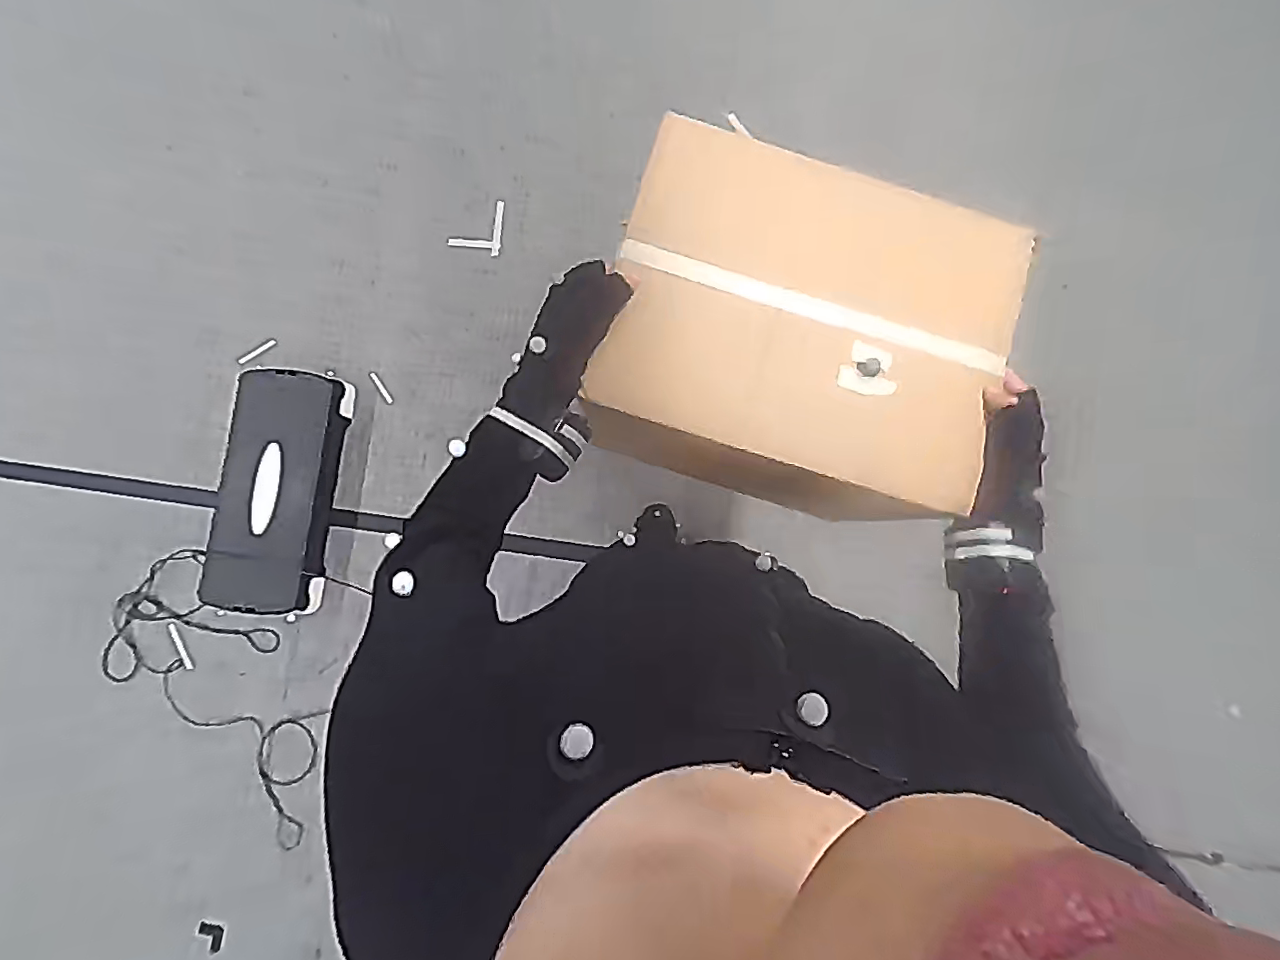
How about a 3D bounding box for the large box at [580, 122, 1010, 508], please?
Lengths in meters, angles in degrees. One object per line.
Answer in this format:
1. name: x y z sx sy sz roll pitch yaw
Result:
1. large box: 0.158 -0.166 0.701 0.408 0.320 0.320 16 84 -2
